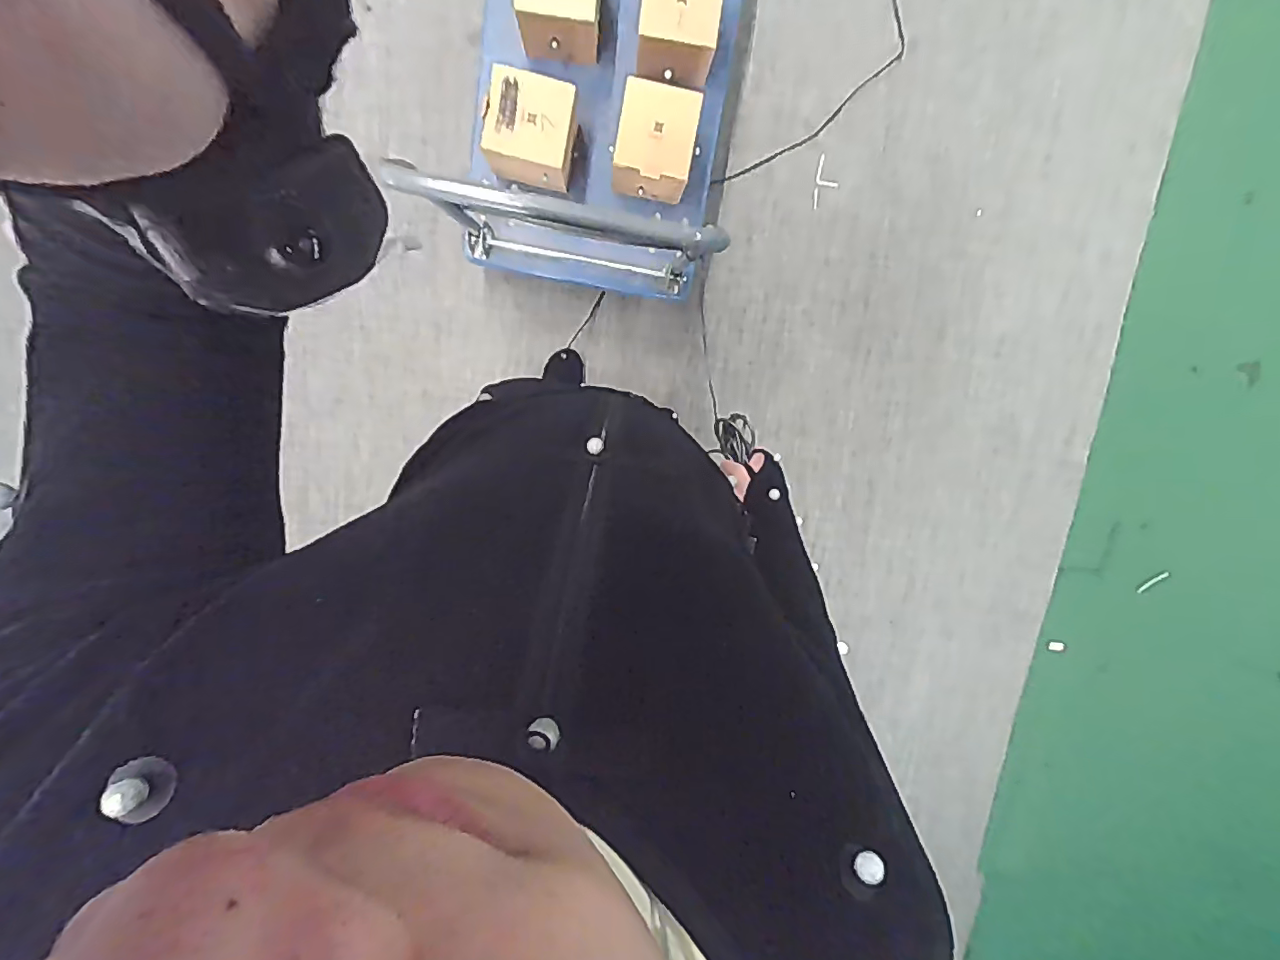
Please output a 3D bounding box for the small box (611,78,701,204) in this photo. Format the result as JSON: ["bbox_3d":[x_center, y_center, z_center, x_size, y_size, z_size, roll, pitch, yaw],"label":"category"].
[{"bbox_3d":[0.029,-0.753,1.220,0.168,0.176,0.179,10,102,-6],"label":"small box"}]

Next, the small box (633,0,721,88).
[{"bbox_3d":[0.078,-0.997,1.169,0.168,0.176,0.179,7,103,-5],"label":"small box"}]

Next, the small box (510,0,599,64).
[{"bbox_3d":[-0.174,-1.029,1.146,0.168,0.176,0.179,5,102,-5],"label":"small box"}]
